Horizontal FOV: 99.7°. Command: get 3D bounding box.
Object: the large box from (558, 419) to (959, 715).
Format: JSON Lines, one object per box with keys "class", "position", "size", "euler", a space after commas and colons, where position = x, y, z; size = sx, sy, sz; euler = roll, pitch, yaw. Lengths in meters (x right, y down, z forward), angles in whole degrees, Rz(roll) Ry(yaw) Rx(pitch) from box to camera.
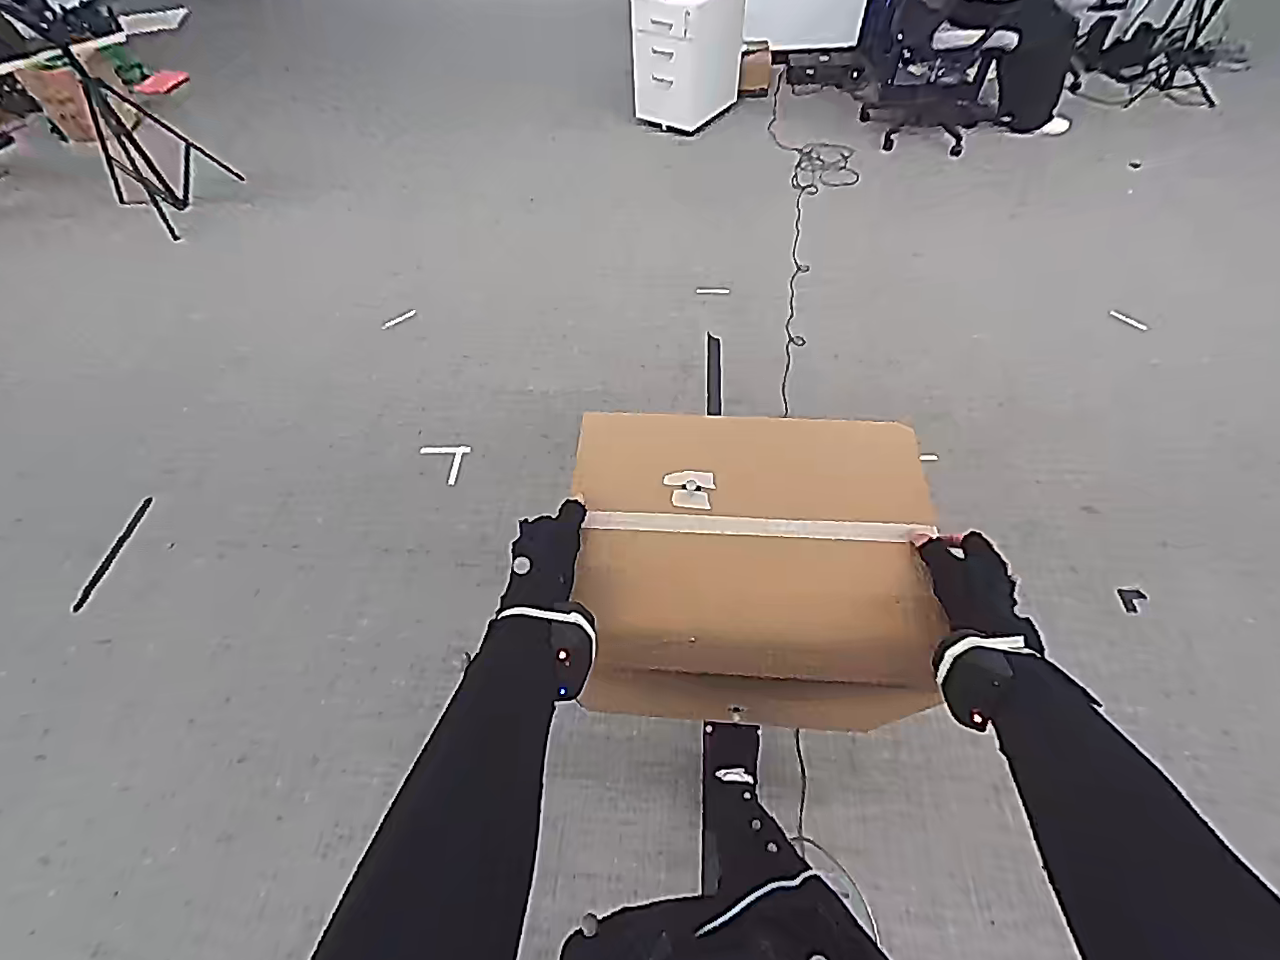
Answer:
{"class": "large box", "position": [0.130, 0.131, 0.738], "size": [0.408, 0.320, 0.320], "euler": [2, 58, 4]}
